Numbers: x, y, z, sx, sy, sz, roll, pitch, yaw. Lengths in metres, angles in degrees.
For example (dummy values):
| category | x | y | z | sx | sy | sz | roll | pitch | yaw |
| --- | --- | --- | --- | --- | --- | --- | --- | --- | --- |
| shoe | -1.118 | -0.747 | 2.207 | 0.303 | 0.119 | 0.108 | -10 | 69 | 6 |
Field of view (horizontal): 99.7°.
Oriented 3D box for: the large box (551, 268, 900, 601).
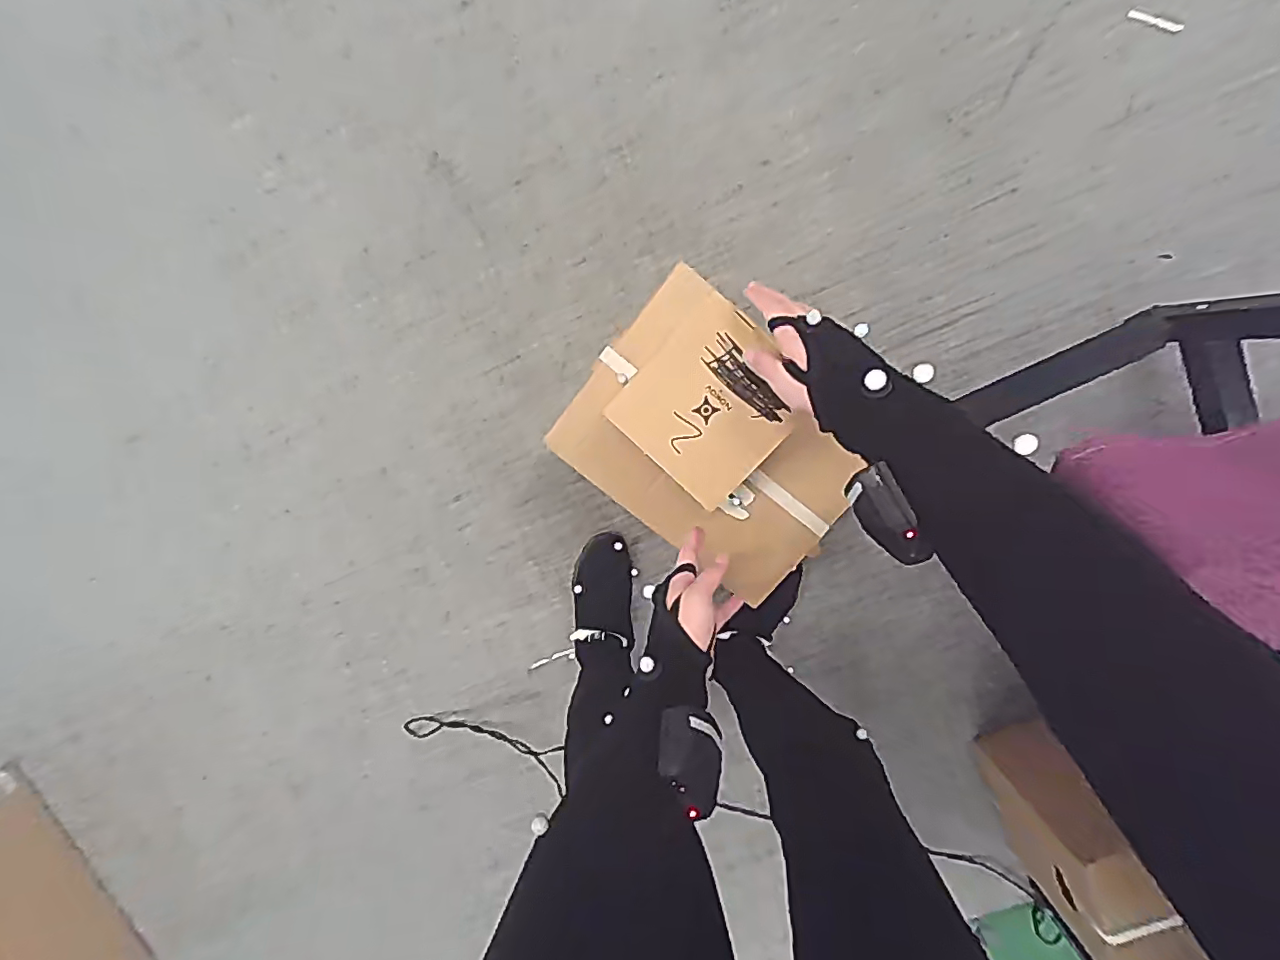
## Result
| category | x | y | z | sx | sy | sz | roll | pitch | yaw |
| --- | --- | --- | --- | --- | --- | --- | --- | --- | --- |
| large box | 0.119 | -0.081 | 0.907 | 0.408 | 0.320 | 0.320 | 38 | 101 | -7 |
